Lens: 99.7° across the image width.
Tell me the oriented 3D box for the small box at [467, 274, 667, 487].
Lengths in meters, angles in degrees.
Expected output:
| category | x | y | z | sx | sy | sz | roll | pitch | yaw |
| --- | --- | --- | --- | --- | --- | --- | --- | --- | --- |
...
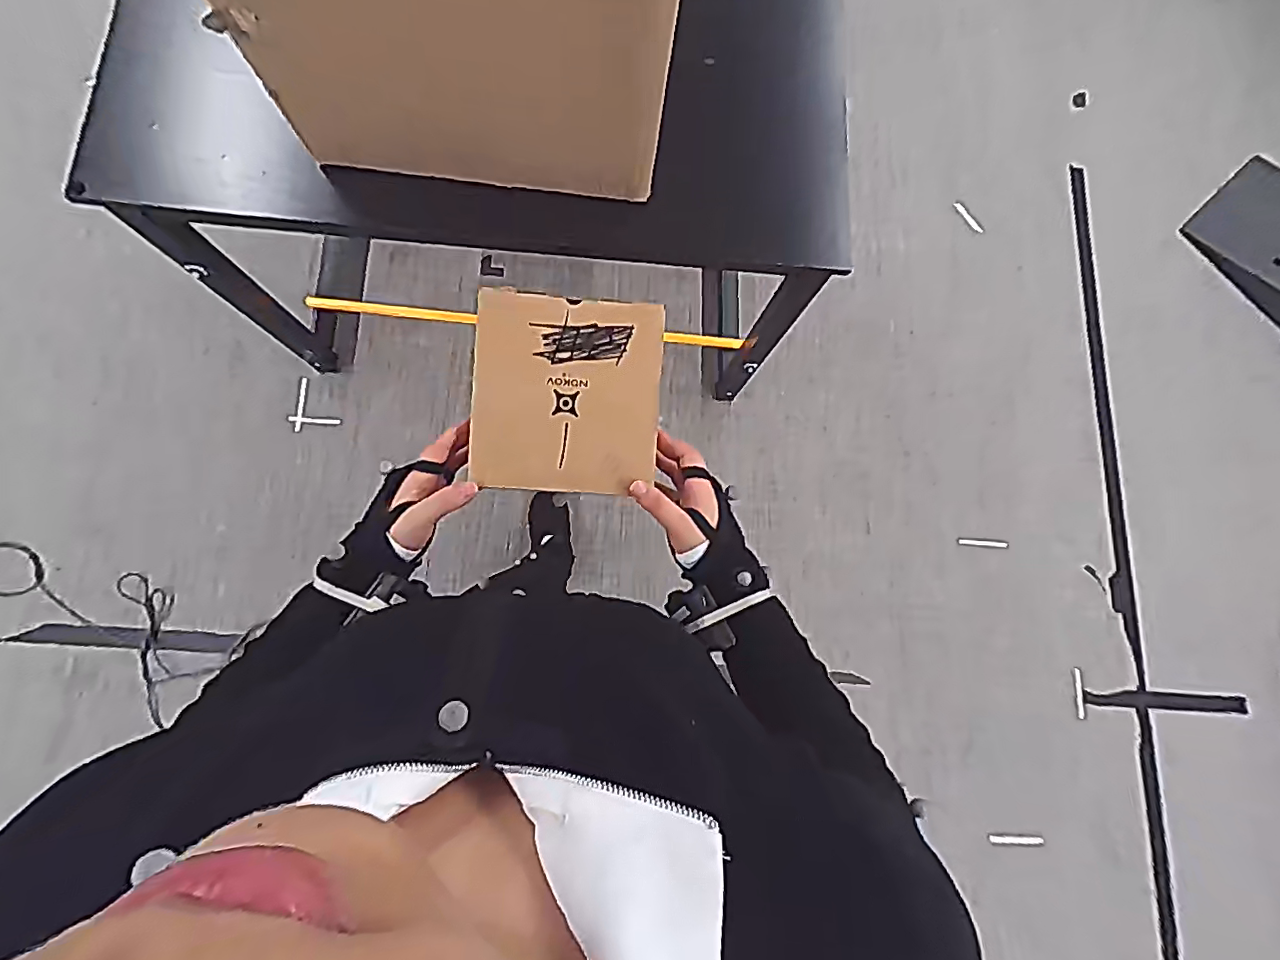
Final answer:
| category | x | y | z | sx | sy | sz | roll | pitch | yaw |
| --- | --- | --- | --- | --- | --- | --- | --- | --- | --- |
| small box | -0.071 | -0.085 | 0.550 | 0.168 | 0.176 | 0.179 | 4 | 89 | -6 |
